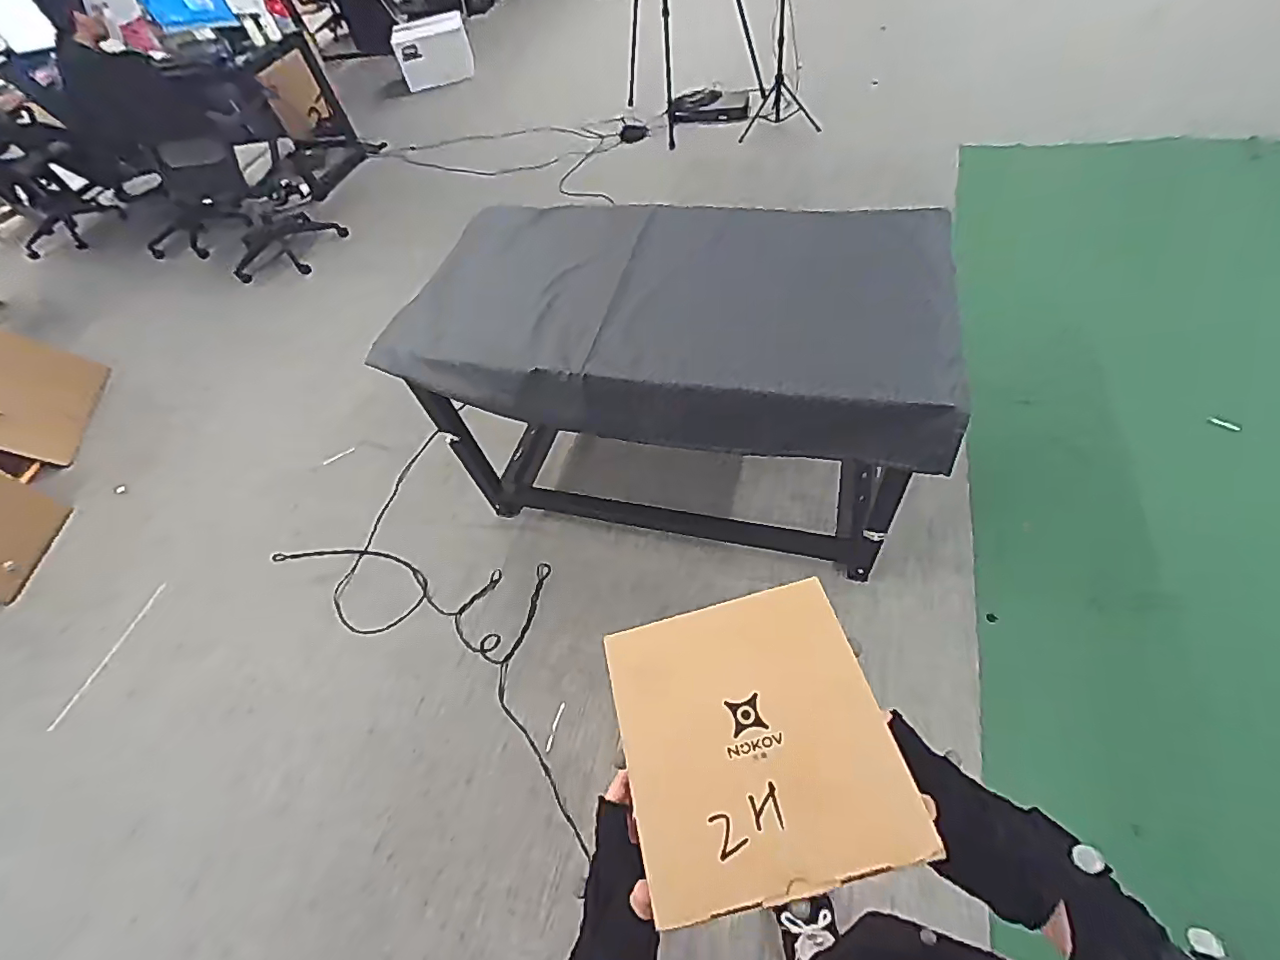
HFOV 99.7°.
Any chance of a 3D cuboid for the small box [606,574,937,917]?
[{"bbox_3d":[0.082,0.201,0.409,0.168,0.176,0.179,-16,53,2],"label":"small box"}]
